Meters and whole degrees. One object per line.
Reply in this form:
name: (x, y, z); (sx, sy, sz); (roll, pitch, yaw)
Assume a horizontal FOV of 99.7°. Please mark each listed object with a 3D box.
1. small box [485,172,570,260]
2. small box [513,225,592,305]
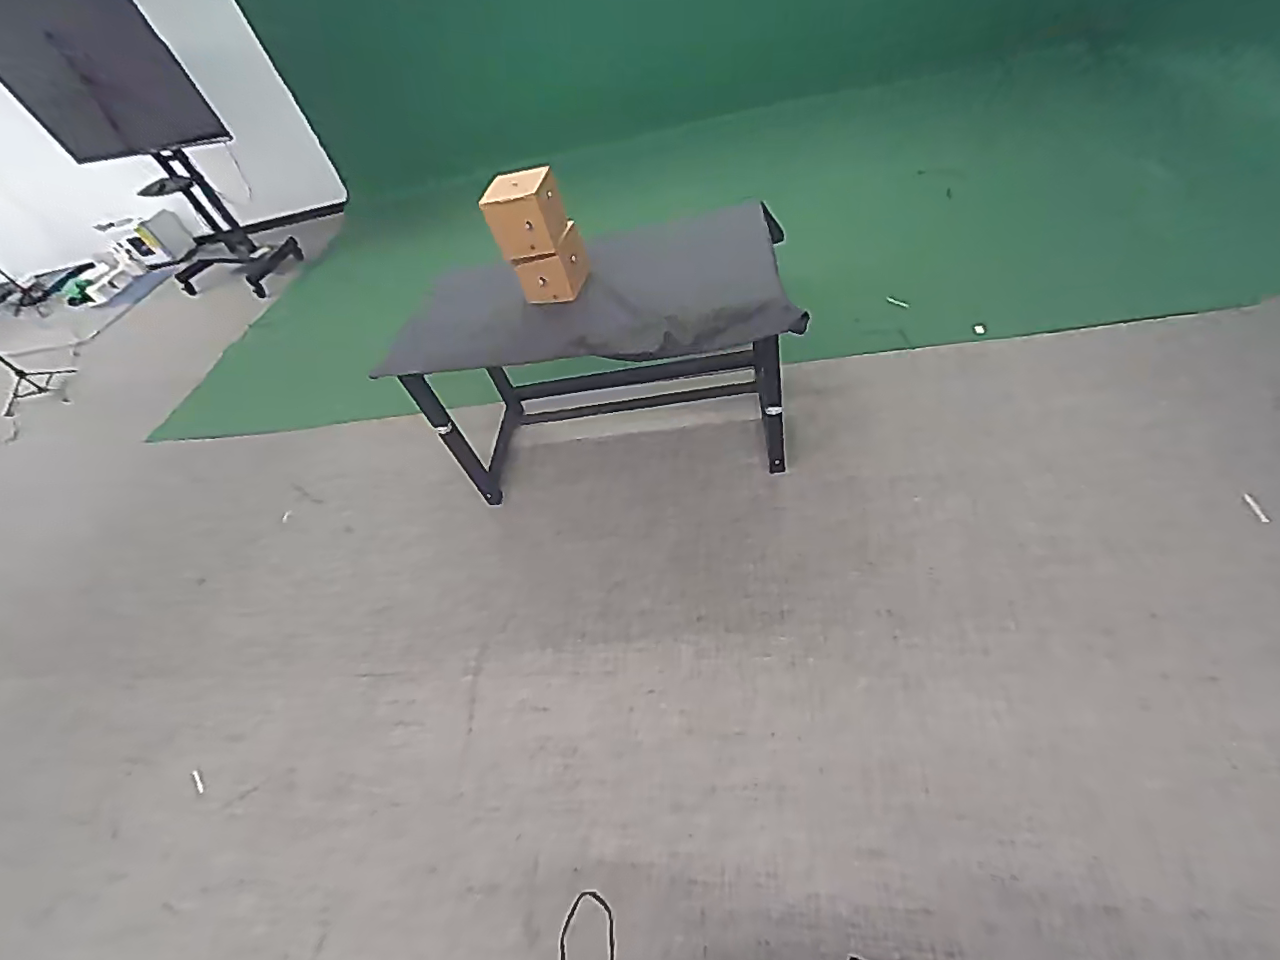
small box: (-0.313, -0.746, 1.547); (0.168, 0.176, 0.179); (-2, 49, 14)
small box: (-0.264, -0.660, 1.679); (0.168, 0.176, 0.179); (2, 52, 18)
